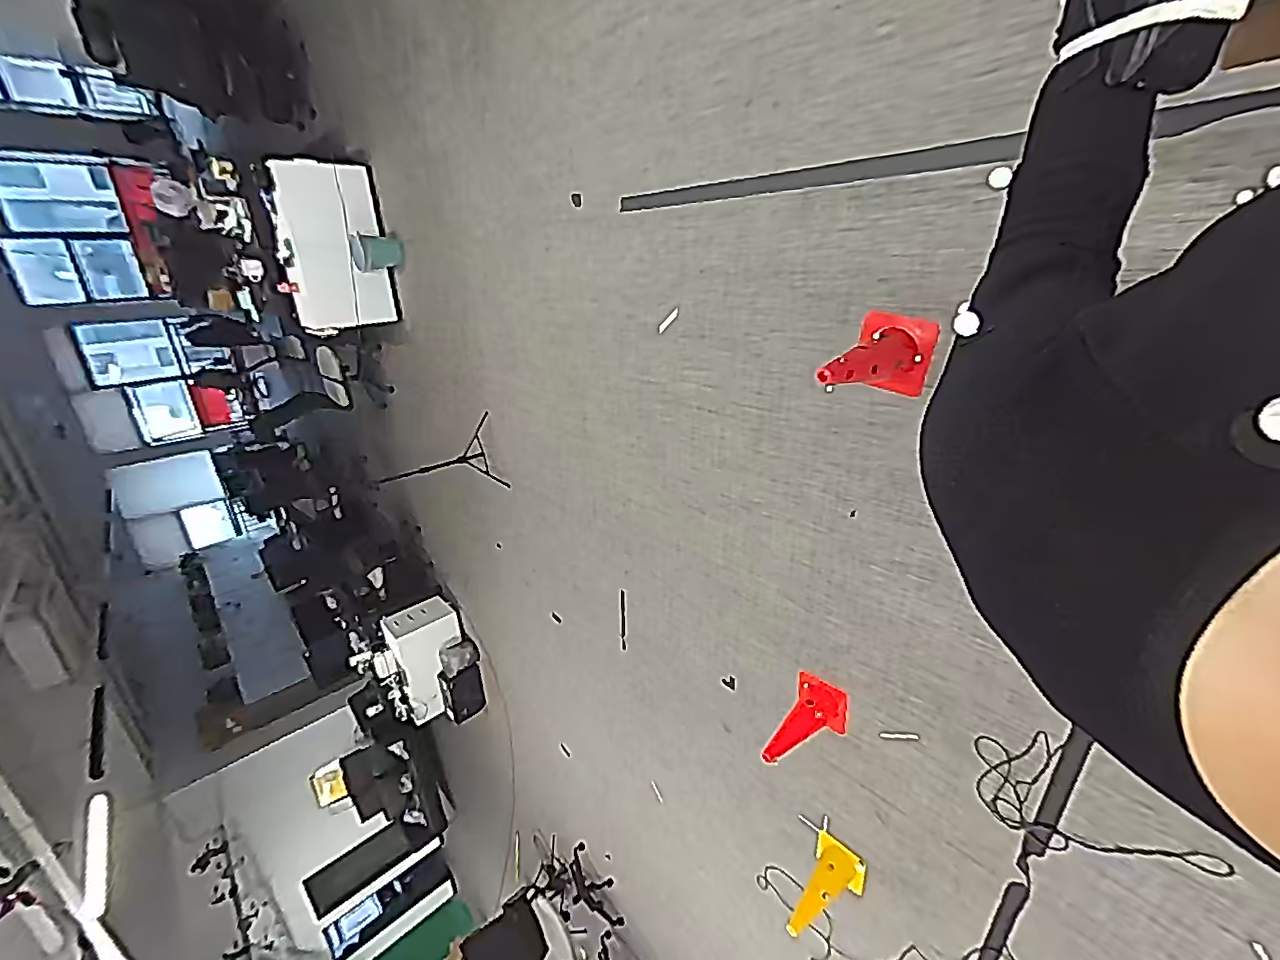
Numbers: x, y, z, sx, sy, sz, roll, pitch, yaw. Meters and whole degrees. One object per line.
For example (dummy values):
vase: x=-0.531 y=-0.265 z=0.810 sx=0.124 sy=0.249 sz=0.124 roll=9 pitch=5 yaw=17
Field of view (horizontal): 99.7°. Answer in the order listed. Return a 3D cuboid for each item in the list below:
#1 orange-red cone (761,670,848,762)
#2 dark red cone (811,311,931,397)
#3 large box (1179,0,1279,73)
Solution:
orange-red cone: x=0.554 y=0.877 z=1.915 sx=0.198 sy=0.360 sz=0.199 roll=19 pitch=122 yaw=46
dark red cone: x=0.541 y=-0.292 z=1.344 sx=0.201 sy=0.394 sz=0.202 roll=27 pitch=127 yaw=39
large box: x=0.572 y=-0.447 z=0.247 sx=0.408 sy=0.320 sz=0.320 roll=18 pitch=123 yaw=44
